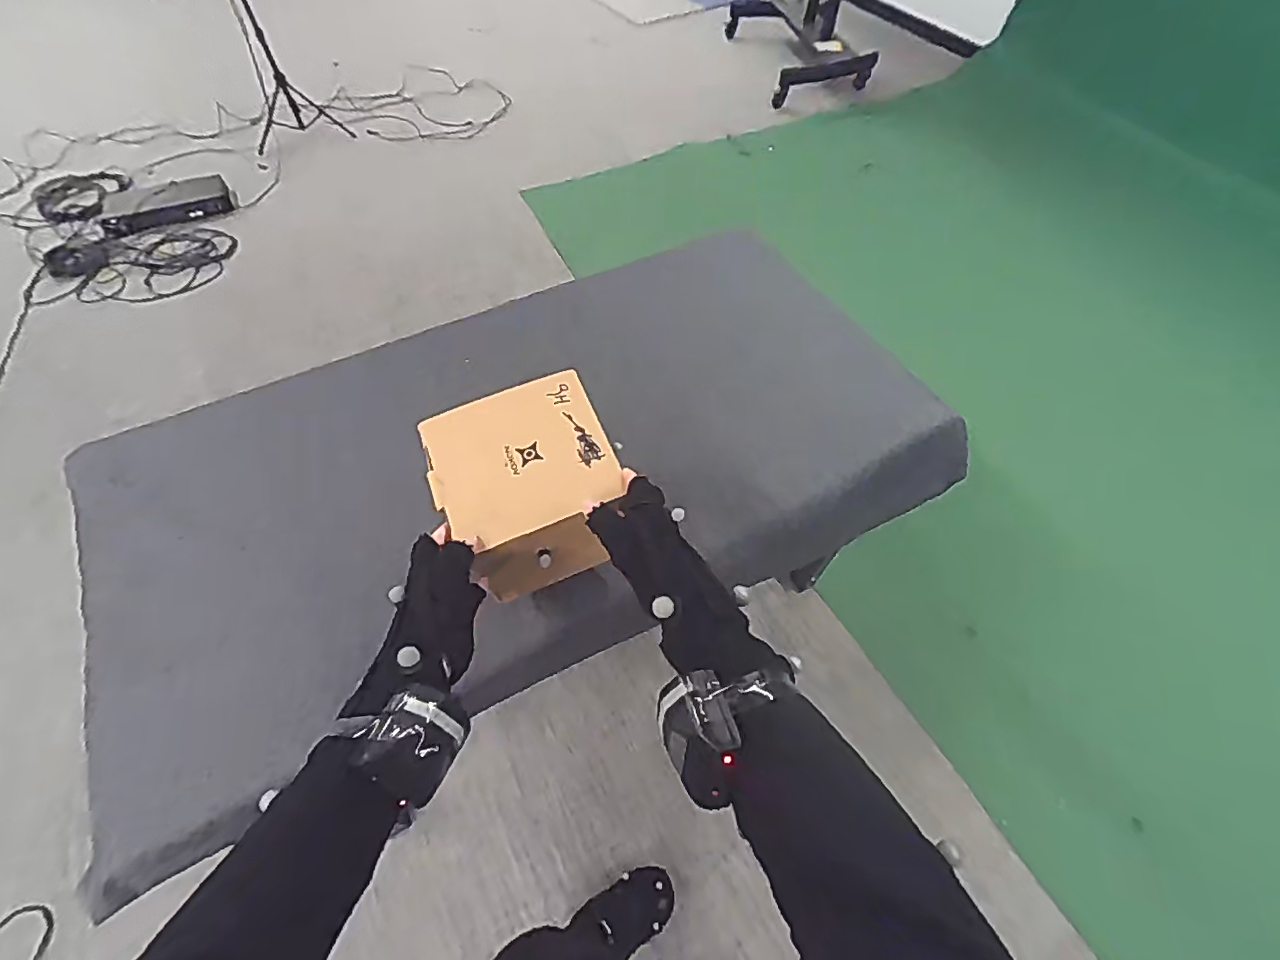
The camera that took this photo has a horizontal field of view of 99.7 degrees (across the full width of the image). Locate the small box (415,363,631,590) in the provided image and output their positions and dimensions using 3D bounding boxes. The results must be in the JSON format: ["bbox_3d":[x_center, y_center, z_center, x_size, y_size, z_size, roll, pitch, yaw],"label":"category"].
[{"bbox_3d":[-0.121,0.005,0.611,0.179,0.176,0.168,-22,66,-8],"label":"small box"}]
